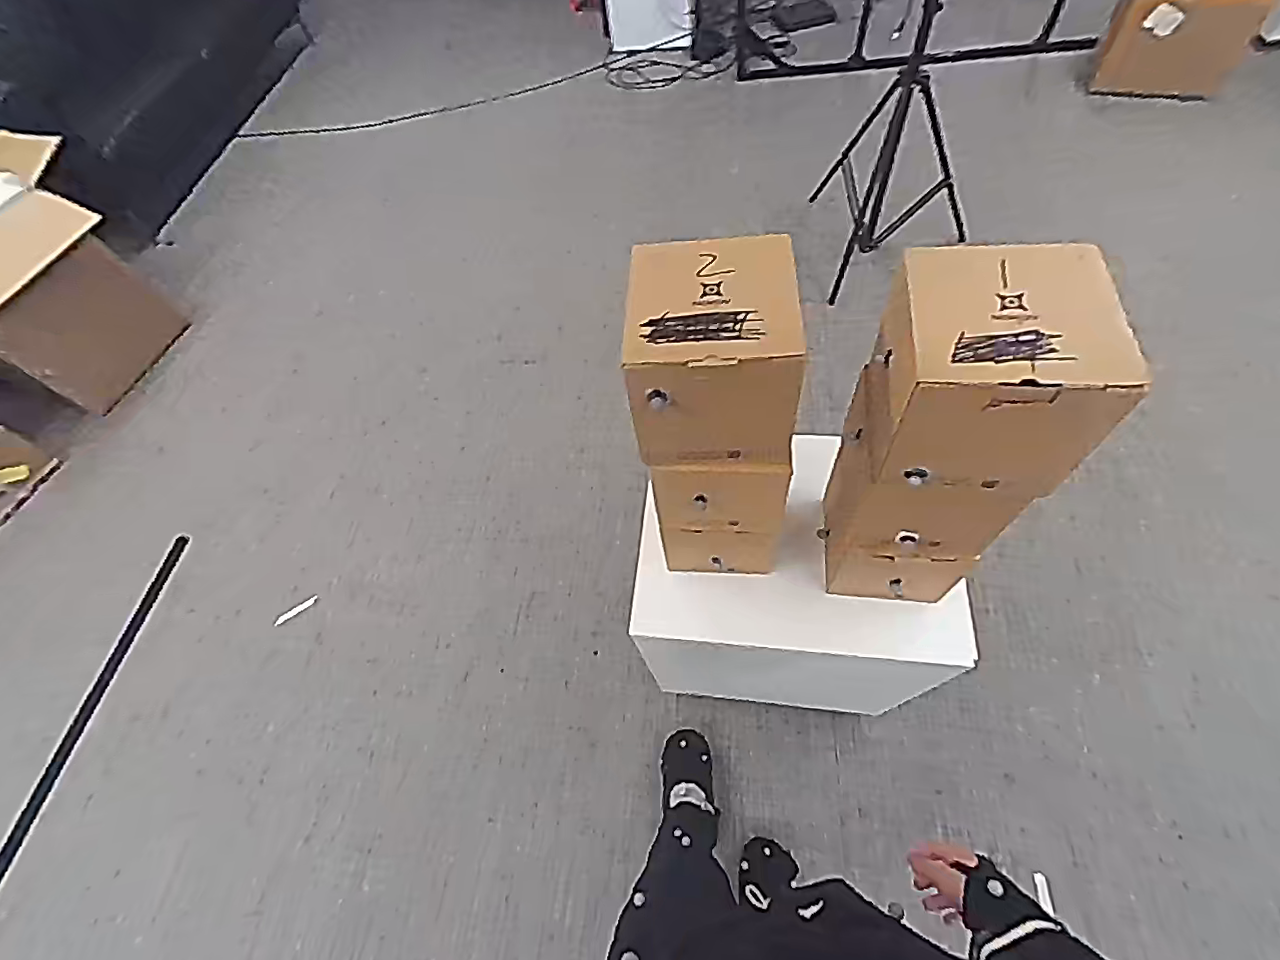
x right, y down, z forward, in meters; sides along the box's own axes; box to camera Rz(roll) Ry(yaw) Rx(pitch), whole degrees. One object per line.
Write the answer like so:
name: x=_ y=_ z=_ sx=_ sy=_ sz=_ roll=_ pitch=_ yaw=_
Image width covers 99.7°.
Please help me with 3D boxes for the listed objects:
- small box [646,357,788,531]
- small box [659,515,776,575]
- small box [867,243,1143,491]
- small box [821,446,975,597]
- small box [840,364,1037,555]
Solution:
small box: x=0.105 y=-0.042 z=0.722 sx=0.168 sy=0.176 sz=0.179 roll=1 pitch=59 yaw=9
small box: x=0.123 y=0.037 z=0.863 sx=0.168 sy=0.176 sz=0.179 roll=0 pitch=60 yaw=8
small box: x=0.328 y=-0.104 z=0.533 sx=0.168 sy=0.176 sz=0.179 roll=4 pitch=59 yaw=12
small box: x=0.370 y=0.067 z=0.809 sx=0.168 sy=0.176 sz=0.179 roll=3 pitch=62 yaw=10
small box: x=0.350 y=-0.023 z=0.675 sx=0.168 sy=0.176 sz=0.179 roll=3 pitch=61 yaw=12
